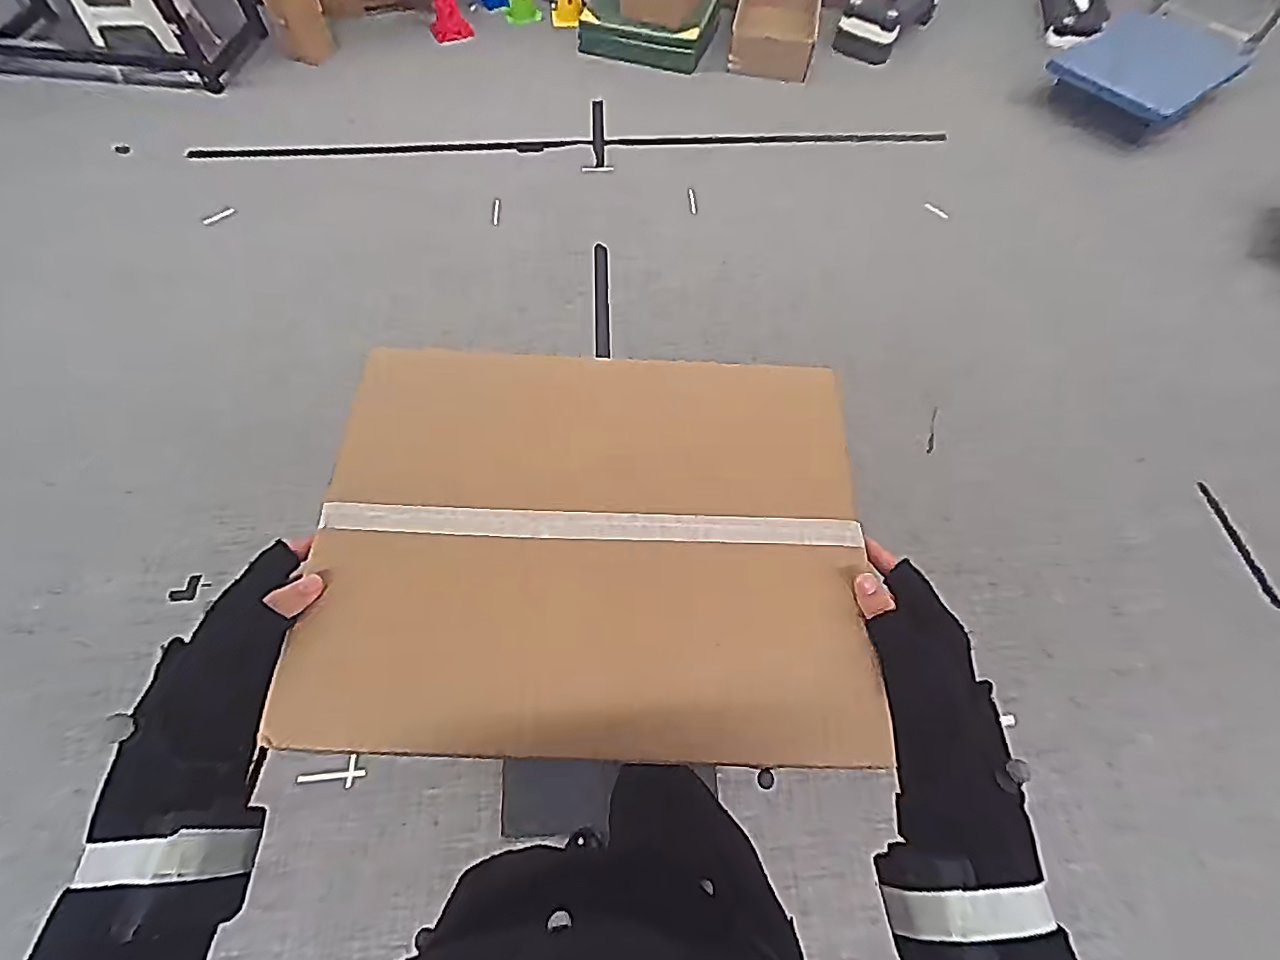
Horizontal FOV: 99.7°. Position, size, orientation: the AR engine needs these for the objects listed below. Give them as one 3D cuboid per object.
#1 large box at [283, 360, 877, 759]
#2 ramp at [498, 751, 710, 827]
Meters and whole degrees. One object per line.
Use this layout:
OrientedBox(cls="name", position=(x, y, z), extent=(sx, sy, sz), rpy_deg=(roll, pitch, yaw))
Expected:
OrientedBox(cls="large box", position=(-0.039, 0.100, 0.555), extent=(0.408, 0.320, 0.320), rpy_deg=(3, 64, -2))
OrientedBox(cls="ramp", position=(-0.101, 0.295, 1.371), extent=(0.509, 0.206, 0.991), rpy_deg=(-3, 63, -5))
